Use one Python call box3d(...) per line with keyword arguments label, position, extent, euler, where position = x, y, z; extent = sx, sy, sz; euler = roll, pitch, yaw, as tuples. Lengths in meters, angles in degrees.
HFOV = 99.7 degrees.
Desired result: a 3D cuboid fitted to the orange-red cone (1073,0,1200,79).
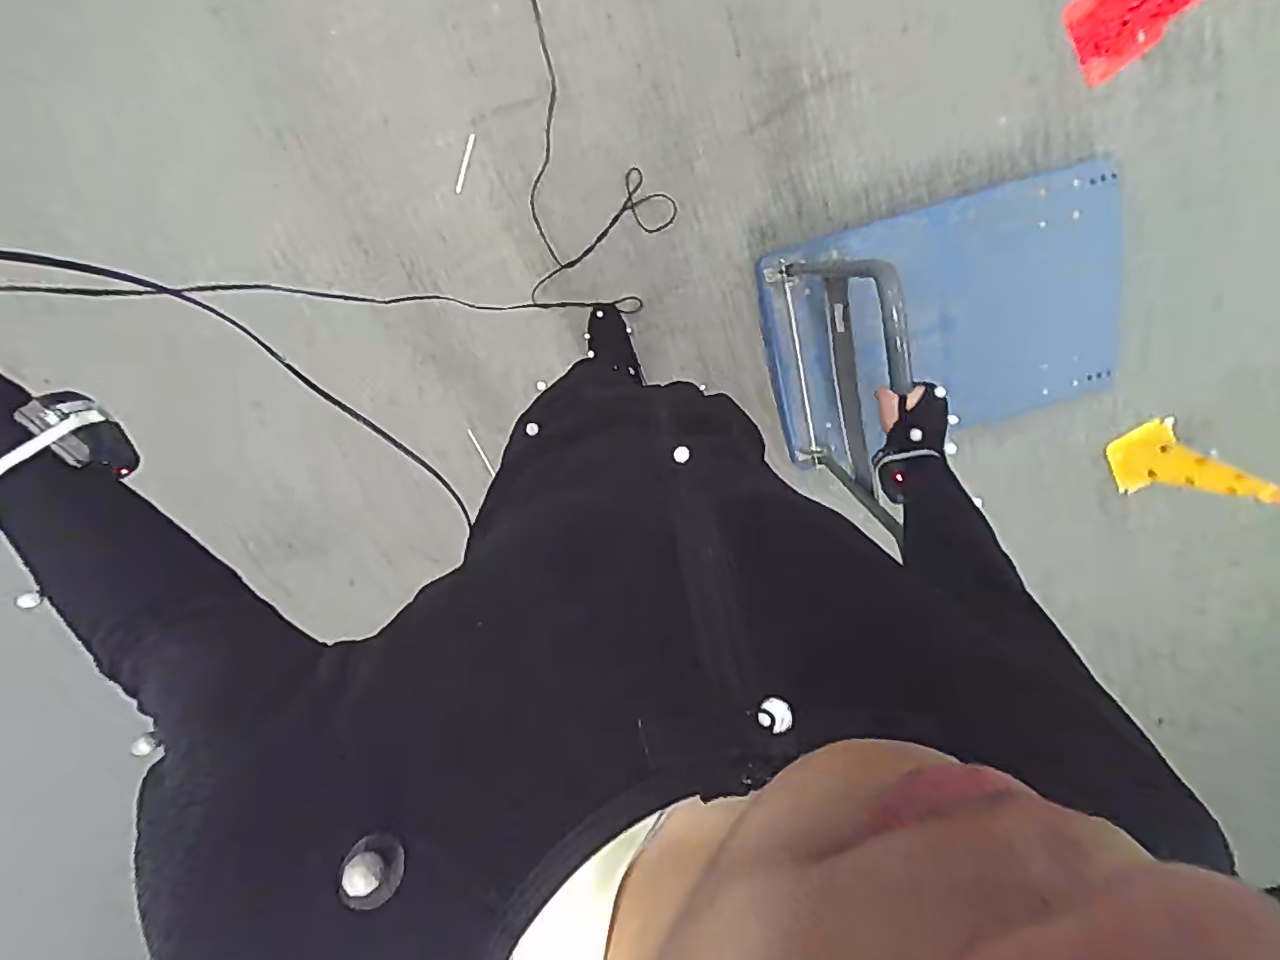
box3d(label="orange-red cone", position=(1.163, -1.055, 1.137), extent=(0.198, 0.360, 0.199), euler=(-35, 106, 9))
